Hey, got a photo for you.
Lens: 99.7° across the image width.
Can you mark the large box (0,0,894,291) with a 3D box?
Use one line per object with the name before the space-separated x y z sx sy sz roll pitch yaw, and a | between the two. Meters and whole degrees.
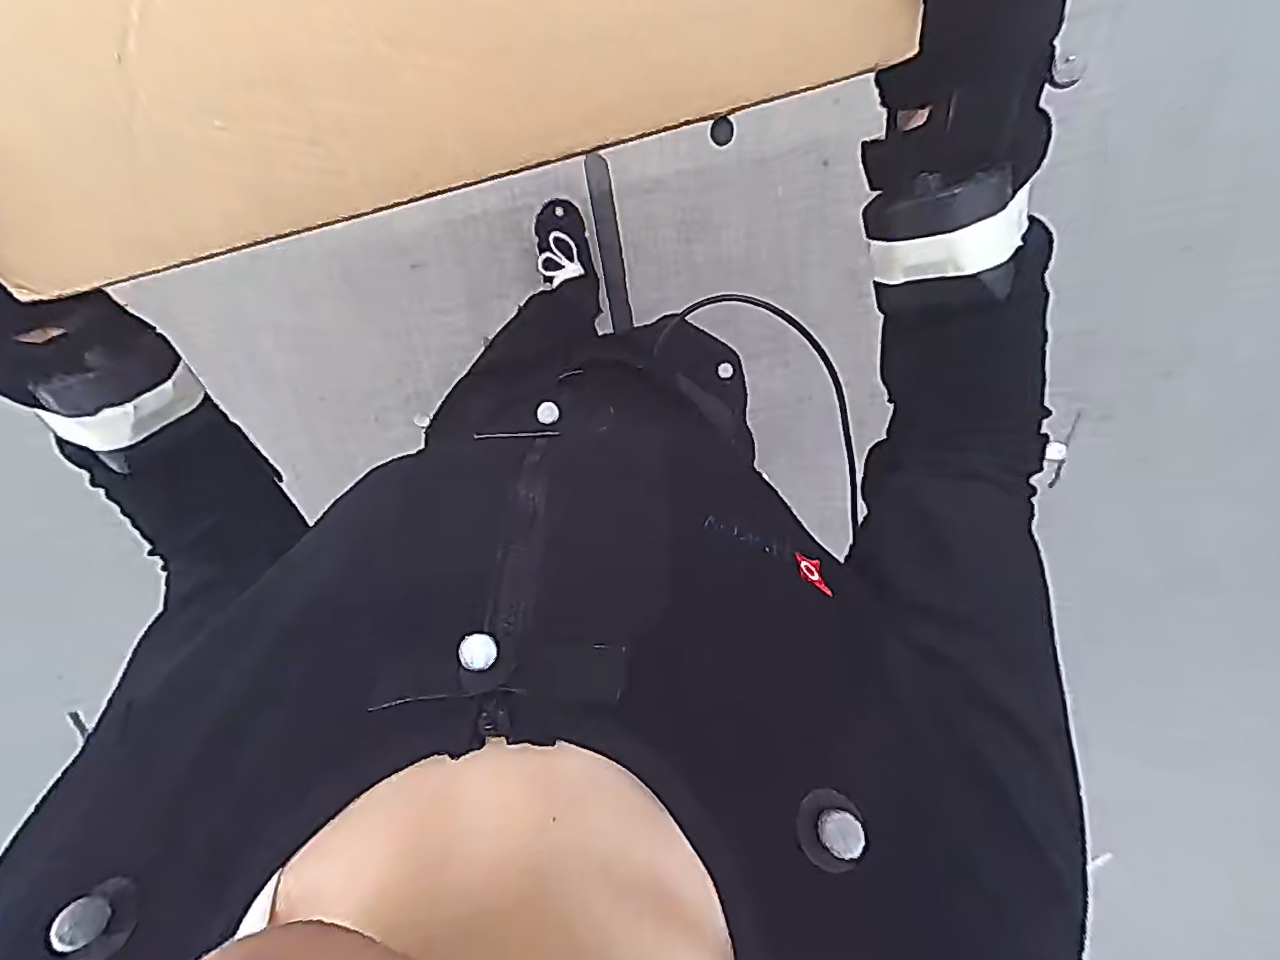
large box | -0.132 -0.341 0.273 0.408 0.320 0.320 -13 125 4
